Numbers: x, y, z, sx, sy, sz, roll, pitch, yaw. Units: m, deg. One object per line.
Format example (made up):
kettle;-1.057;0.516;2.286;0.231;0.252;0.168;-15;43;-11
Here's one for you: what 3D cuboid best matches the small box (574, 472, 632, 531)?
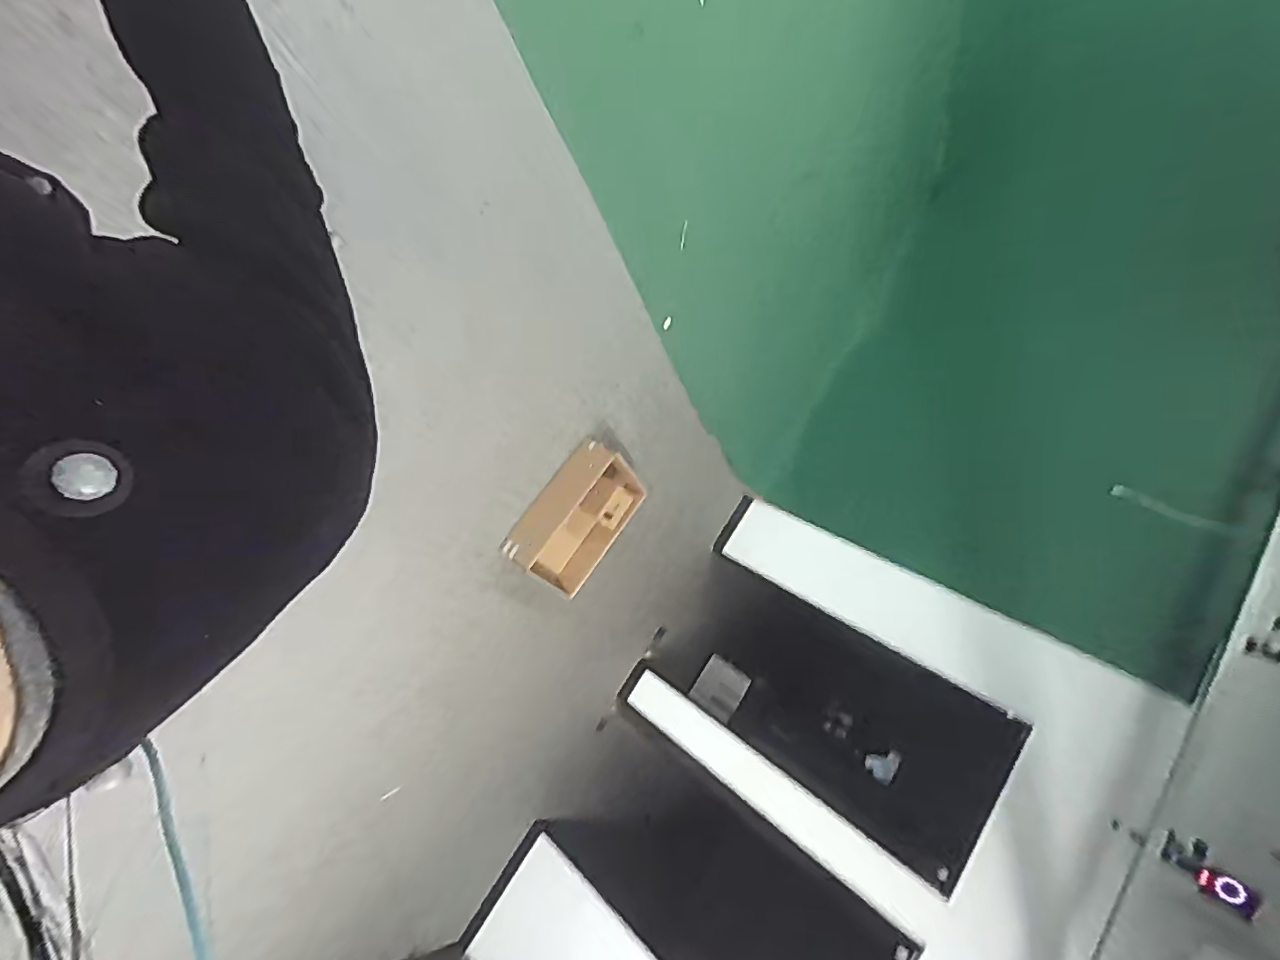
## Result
small box;-0.171;0.094;2.400;0.179;0.176;0.168;-59;147;-11
